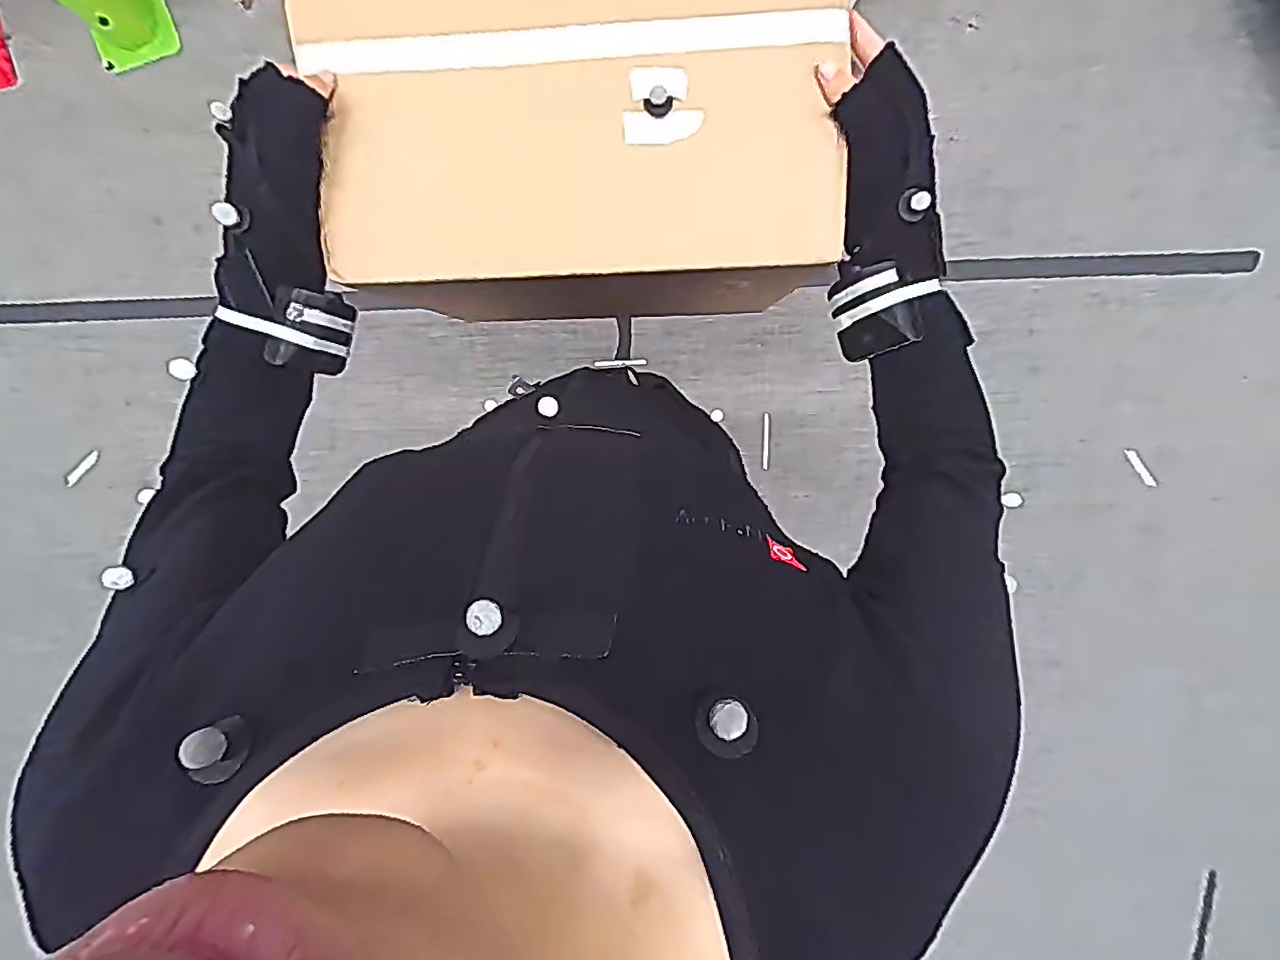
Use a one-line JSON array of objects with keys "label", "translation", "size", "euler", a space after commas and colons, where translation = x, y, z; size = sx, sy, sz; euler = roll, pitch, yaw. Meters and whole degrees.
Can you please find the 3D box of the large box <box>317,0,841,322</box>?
[{"label": "large box", "translation": [-0.044, -0.349, 0.558], "size": [0.408, 0.320, 0.320], "euler": [-2, 100, 2]}]
